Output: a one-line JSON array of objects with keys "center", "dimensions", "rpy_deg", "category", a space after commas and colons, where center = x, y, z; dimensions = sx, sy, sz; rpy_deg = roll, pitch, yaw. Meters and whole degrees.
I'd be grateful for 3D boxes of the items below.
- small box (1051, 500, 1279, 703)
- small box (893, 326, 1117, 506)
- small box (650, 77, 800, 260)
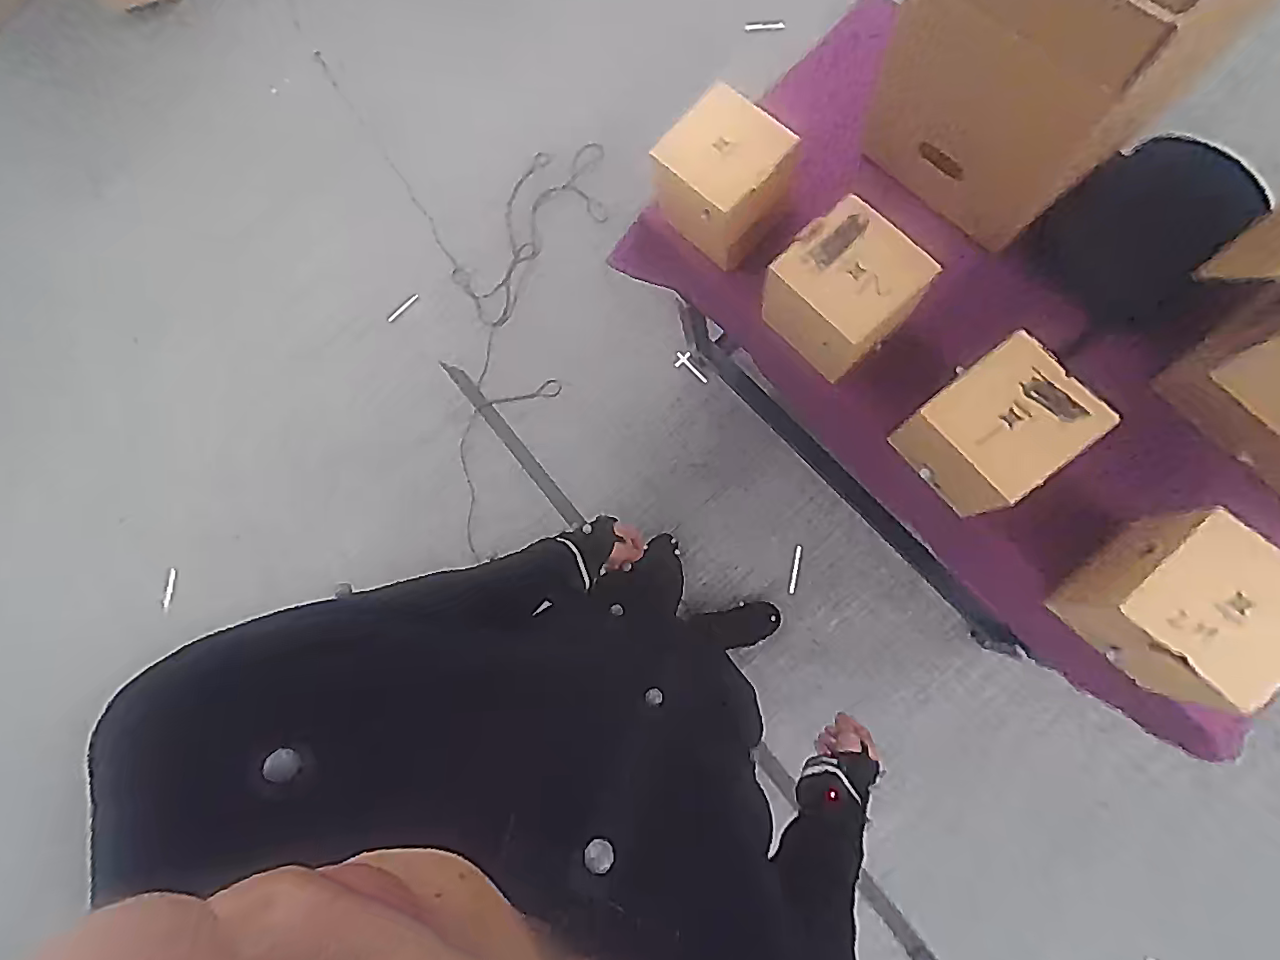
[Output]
[{"center": [0.700, 0.151, 0.705], "dimensions": [0.179, 0.176, 0.168], "rpy_deg": [-45, 75, 1], "category": "small box"}, {"center": [0.503, -0.081, 0.781], "dimensions": [0.179, 0.176, 0.168], "rpy_deg": [-39, 76, 3], "category": "small box"}, {"center": [0.142, -0.515, 0.919], "dimensions": [0.168, 0.176, 0.179], "rpy_deg": [-45, 78, 1], "category": "small box"}]
